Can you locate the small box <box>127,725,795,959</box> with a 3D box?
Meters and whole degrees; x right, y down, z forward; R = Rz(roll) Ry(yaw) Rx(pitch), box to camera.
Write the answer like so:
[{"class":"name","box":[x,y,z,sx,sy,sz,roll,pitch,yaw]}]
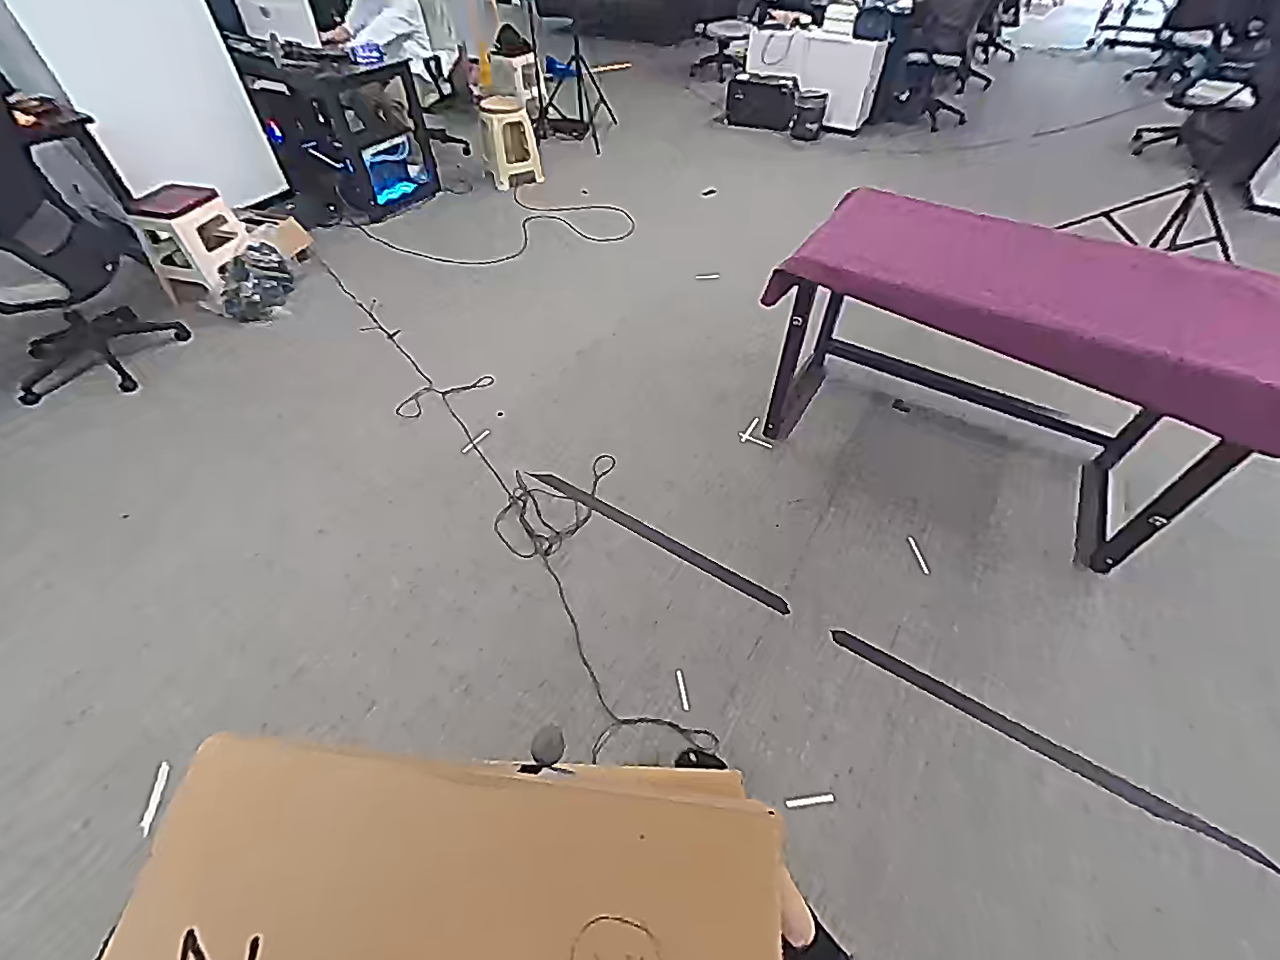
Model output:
[{"class":"small box","box":[-0.046,0.194,0.188,0.179,0.176,0.168,4,62,14]}]
